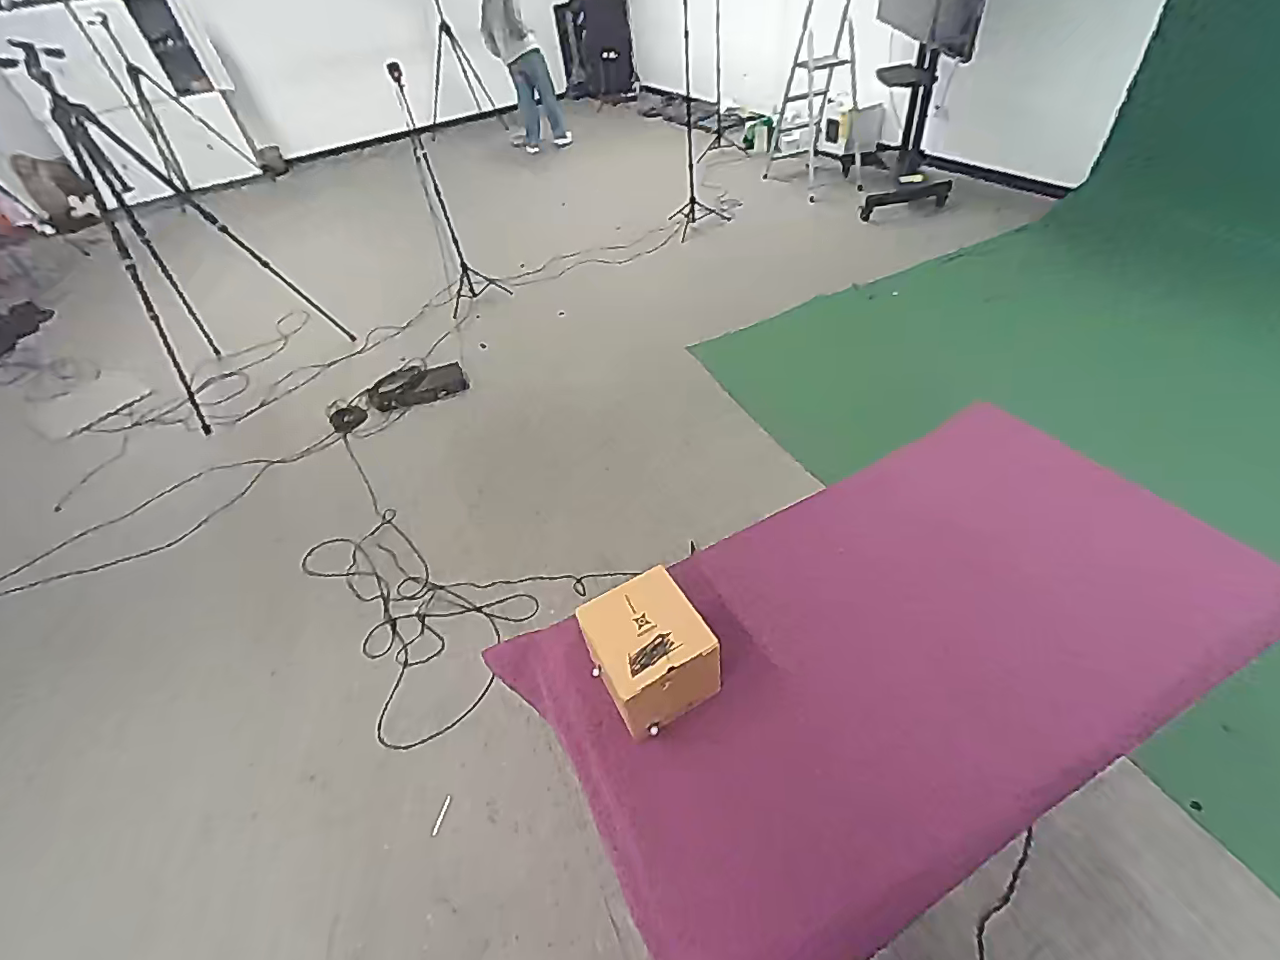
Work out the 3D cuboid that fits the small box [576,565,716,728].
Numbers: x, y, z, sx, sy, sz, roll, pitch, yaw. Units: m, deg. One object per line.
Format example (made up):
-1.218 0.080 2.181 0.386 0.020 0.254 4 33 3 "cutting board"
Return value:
0.015 0.281 0.893 0.168 0.176 0.179 -25 46 -16 "small box"
